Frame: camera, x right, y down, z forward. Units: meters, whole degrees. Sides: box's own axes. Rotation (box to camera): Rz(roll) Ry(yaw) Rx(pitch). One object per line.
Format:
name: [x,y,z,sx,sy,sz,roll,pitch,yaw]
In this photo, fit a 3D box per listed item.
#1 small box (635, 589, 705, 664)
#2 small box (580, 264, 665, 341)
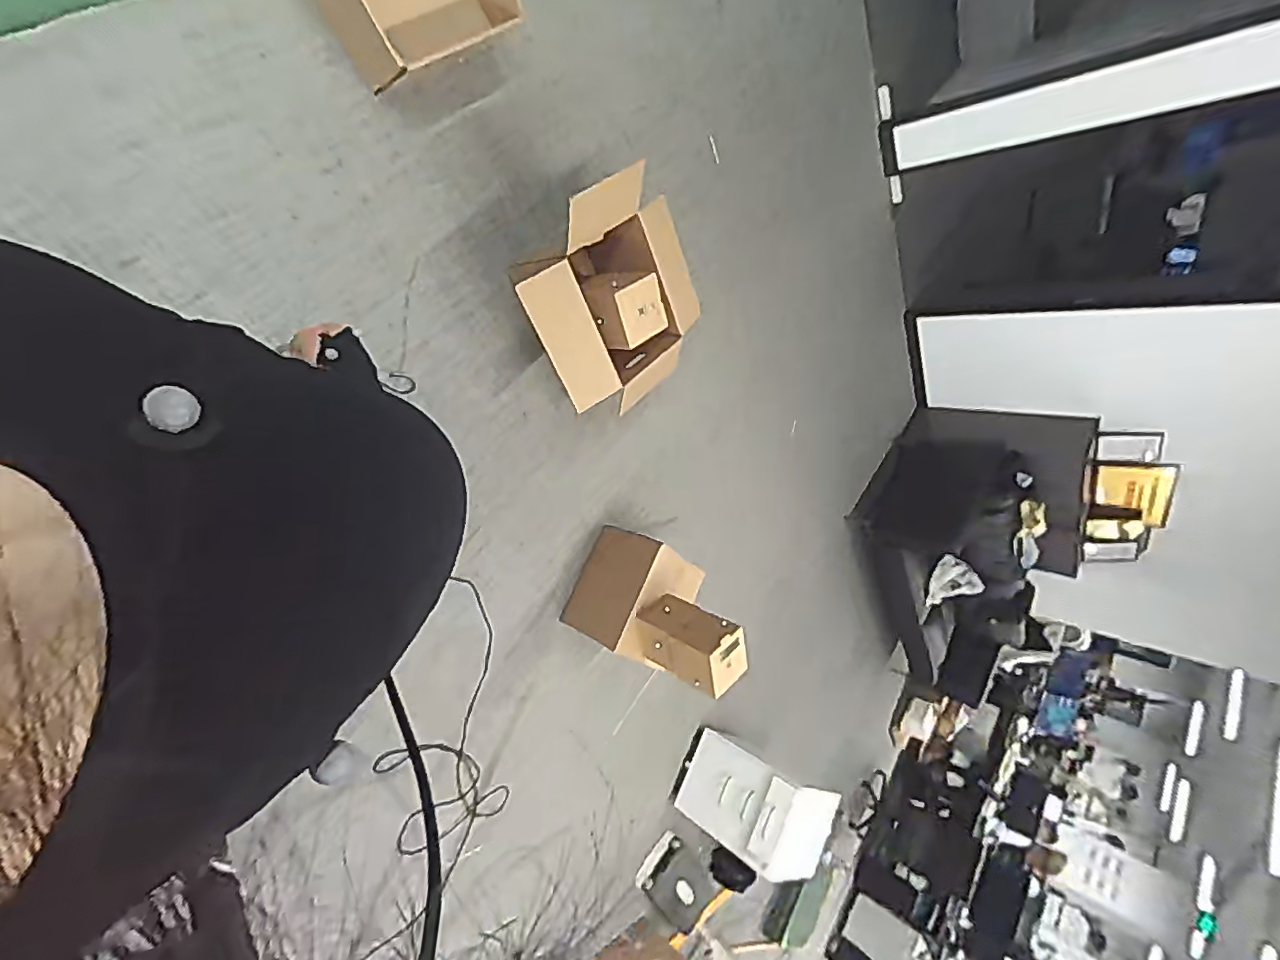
small box: [0.101,0.495,1.865,0.168,0.176,0.179,-29,117,-37]
small box: [-0.059,-0.529,1.611,0.179,0.176,0.168,-41,130,-31]
